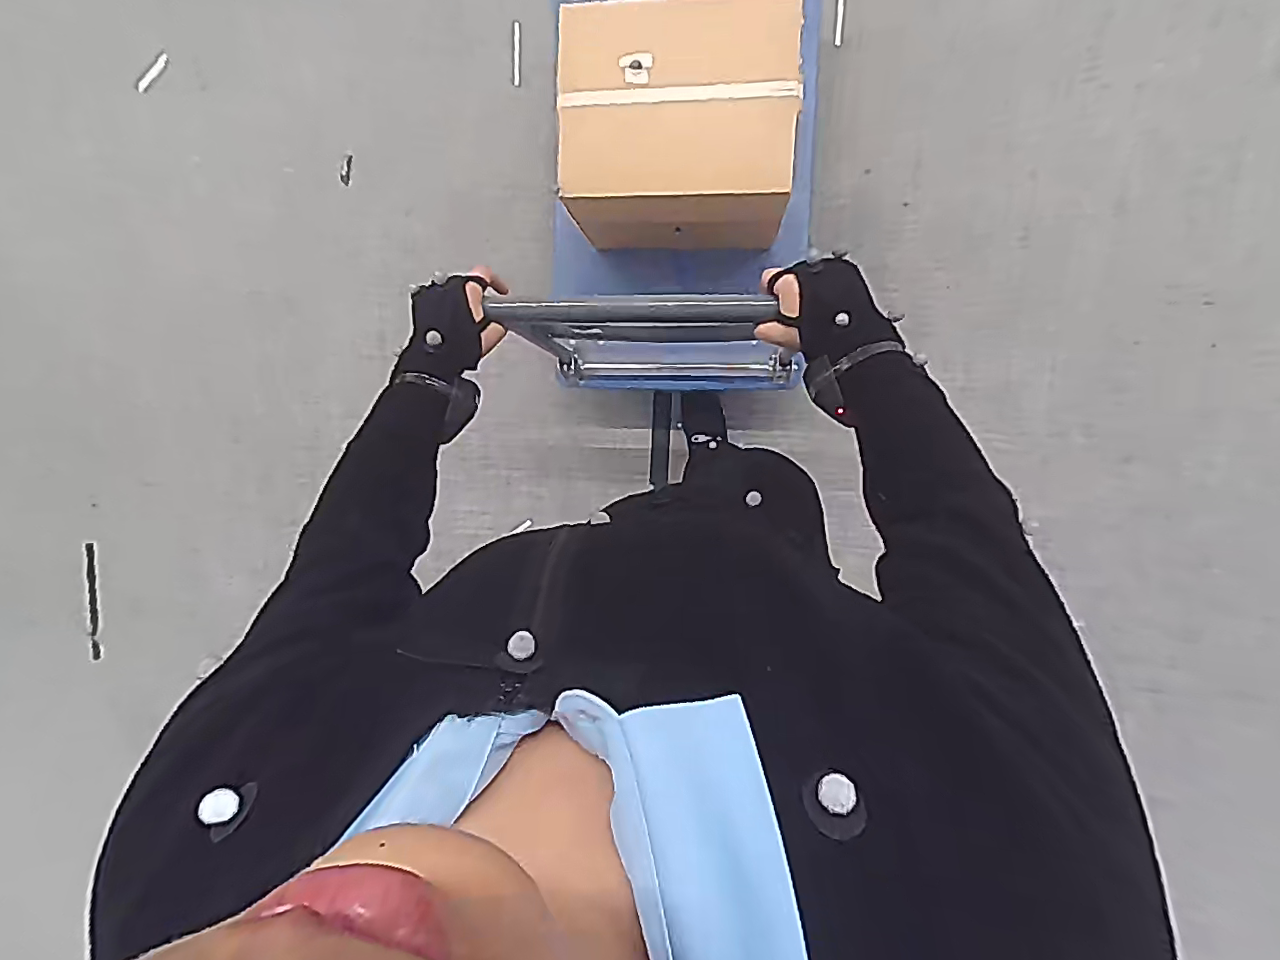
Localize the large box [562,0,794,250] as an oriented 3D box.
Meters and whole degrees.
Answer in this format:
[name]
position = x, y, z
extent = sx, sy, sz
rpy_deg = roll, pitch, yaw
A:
[large box]
position = 0.081, -0.666, 1.079
extent = 0.408, 0.320, 0.320
rpy_deg = 2, 96, 8
